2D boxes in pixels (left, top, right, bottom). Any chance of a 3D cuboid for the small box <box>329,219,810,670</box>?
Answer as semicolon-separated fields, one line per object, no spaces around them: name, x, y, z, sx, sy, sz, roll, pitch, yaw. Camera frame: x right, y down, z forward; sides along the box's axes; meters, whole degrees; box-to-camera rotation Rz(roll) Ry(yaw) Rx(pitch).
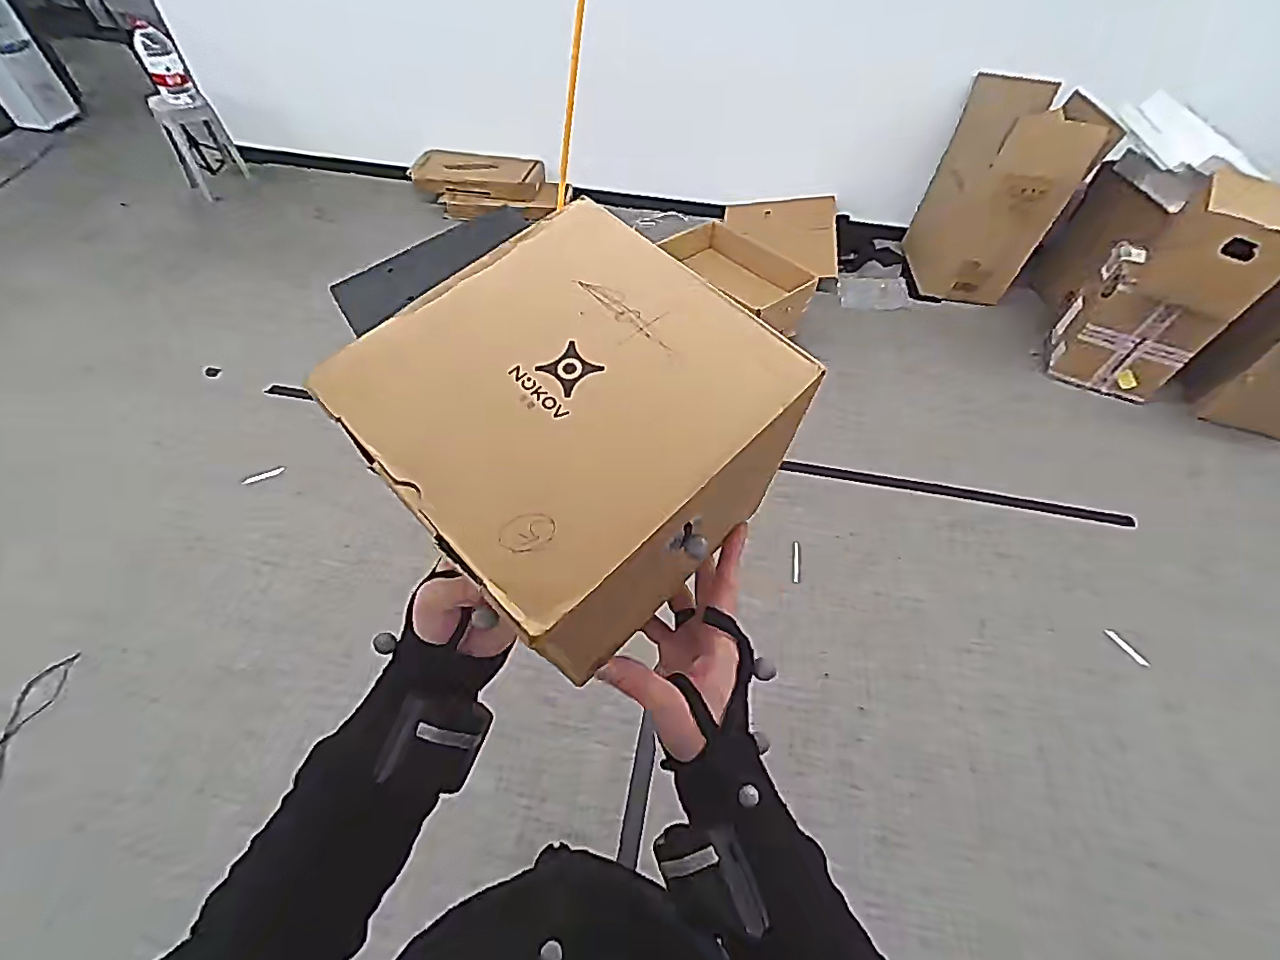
small box;-0.033;-0.009;0.329;0.179;0.176;0.168;-42;72;-19
